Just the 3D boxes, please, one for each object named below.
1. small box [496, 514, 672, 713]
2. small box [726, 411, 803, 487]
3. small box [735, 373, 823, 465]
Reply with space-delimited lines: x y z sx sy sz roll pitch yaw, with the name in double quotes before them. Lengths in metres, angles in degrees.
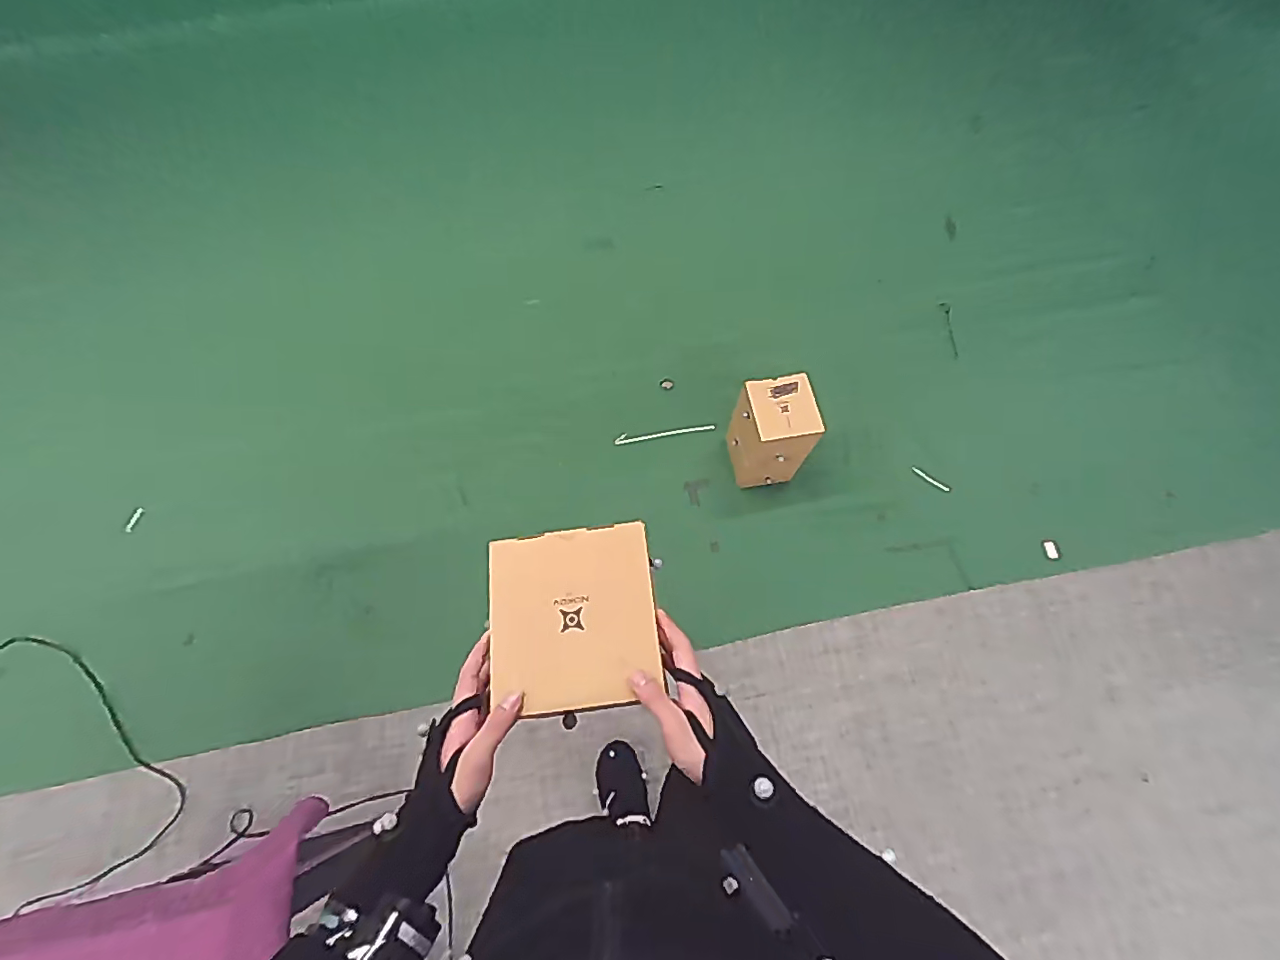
"small box" -0.055 0.154 0.605 0.168 0.176 0.179 -8 68 0
"small box" 0.359 -0.098 1.597 0.168 0.176 0.179 -9 69 -4
"small box" 0.363 -0.159 1.444 0.168 0.176 0.179 -9 69 -4
